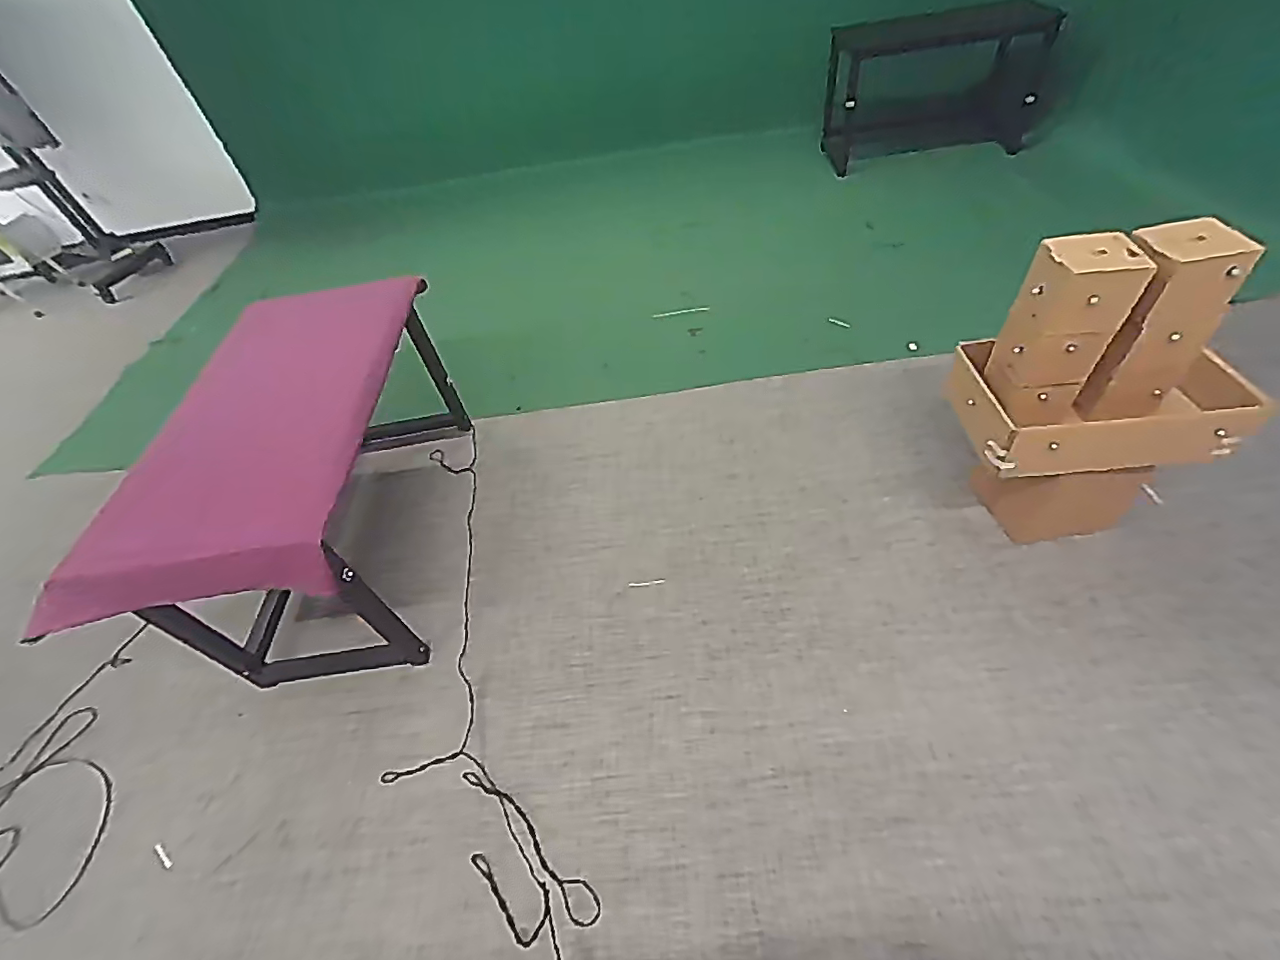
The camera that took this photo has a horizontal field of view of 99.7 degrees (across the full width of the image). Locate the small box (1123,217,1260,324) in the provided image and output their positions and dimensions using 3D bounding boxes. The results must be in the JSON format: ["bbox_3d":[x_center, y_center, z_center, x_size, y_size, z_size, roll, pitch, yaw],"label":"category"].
[{"bbox_3d":[1.281,-0.500,1.298,0.179,0.176,0.168,-8,48,6],"label":"small box"}]

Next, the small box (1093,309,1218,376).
[{"bbox_3d":[1.322,-0.396,1.421,0.179,0.176,0.168,-7,50,8],"label":"small box"}]

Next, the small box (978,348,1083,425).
[{"bbox_3d":[1.112,-0.273,1.563,0.179,0.176,0.168,-4,49,5],"label":"small box"}]

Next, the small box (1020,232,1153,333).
[{"bbox_3d":[1.061,-0.474,1.311,0.179,0.176,0.168,-3,50,8],"label":"small box"}]

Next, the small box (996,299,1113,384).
[{"bbox_3d":[1.082,-0.371,1.436,0.179,0.176,0.168,-3,50,7],"label":"small box"}]
